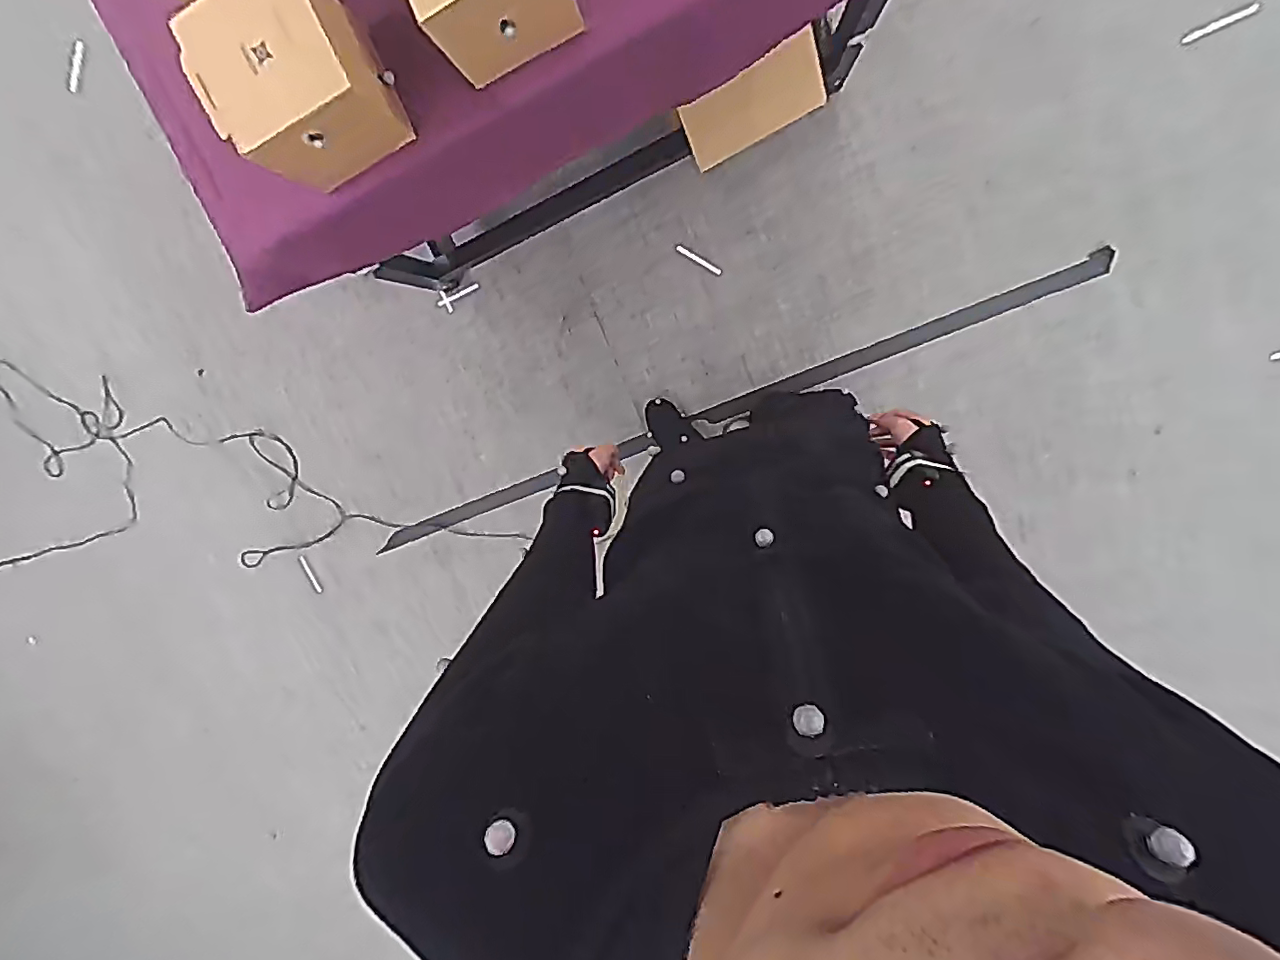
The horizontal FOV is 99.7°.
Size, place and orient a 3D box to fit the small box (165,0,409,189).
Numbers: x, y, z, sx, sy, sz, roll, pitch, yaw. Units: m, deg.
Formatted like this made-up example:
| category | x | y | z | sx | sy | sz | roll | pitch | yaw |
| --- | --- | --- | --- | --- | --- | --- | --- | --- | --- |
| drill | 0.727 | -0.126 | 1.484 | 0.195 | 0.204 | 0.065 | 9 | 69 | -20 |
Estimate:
| category | x | y | z | sx | sy | sz | roll | pitch | yaw |
| --- | --- | --- | --- | --- | --- | --- | --- | --- | --- |
| small box | -0.453 | -0.524 | 0.723 | 0.179 | 0.176 | 0.168 | -23 | 101 | 11 |
